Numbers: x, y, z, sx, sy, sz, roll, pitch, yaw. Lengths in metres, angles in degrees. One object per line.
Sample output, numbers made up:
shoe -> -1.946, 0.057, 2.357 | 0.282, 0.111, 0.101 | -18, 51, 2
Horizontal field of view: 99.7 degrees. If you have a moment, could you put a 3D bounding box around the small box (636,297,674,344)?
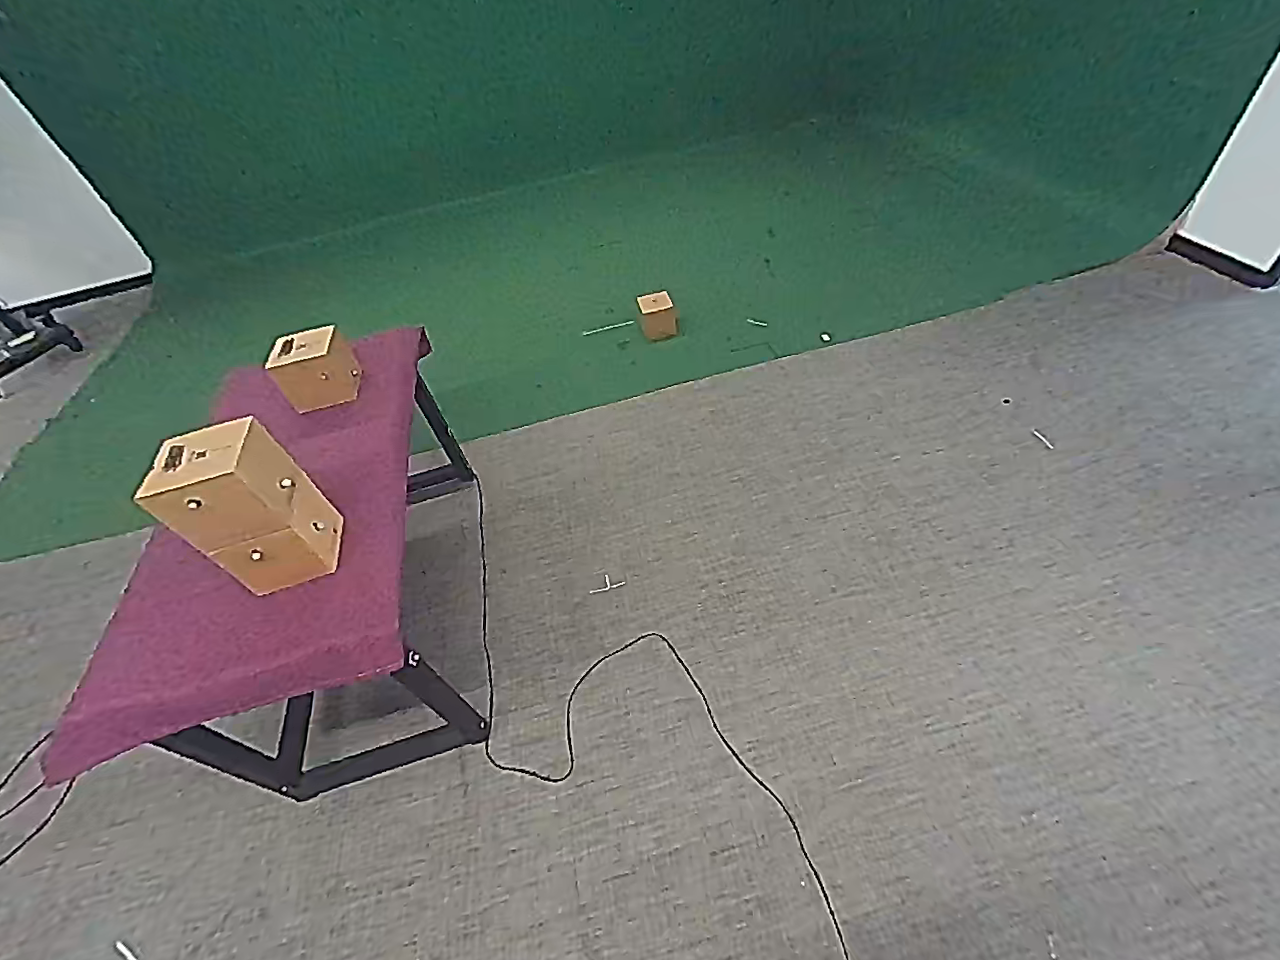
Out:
small box -> 0.080, -0.858, 2.910 | 0.168, 0.176, 0.179 | -13, 47, -2

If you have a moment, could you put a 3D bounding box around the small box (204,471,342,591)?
small box -> -0.780, 0.113, 1.175 | 0.179, 0.176, 0.168 | -17, 47, -5

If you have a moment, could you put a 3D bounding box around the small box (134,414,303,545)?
small box -> -0.805, 0.003, 1.056 | 0.179, 0.176, 0.168 | -16, 47, -5
